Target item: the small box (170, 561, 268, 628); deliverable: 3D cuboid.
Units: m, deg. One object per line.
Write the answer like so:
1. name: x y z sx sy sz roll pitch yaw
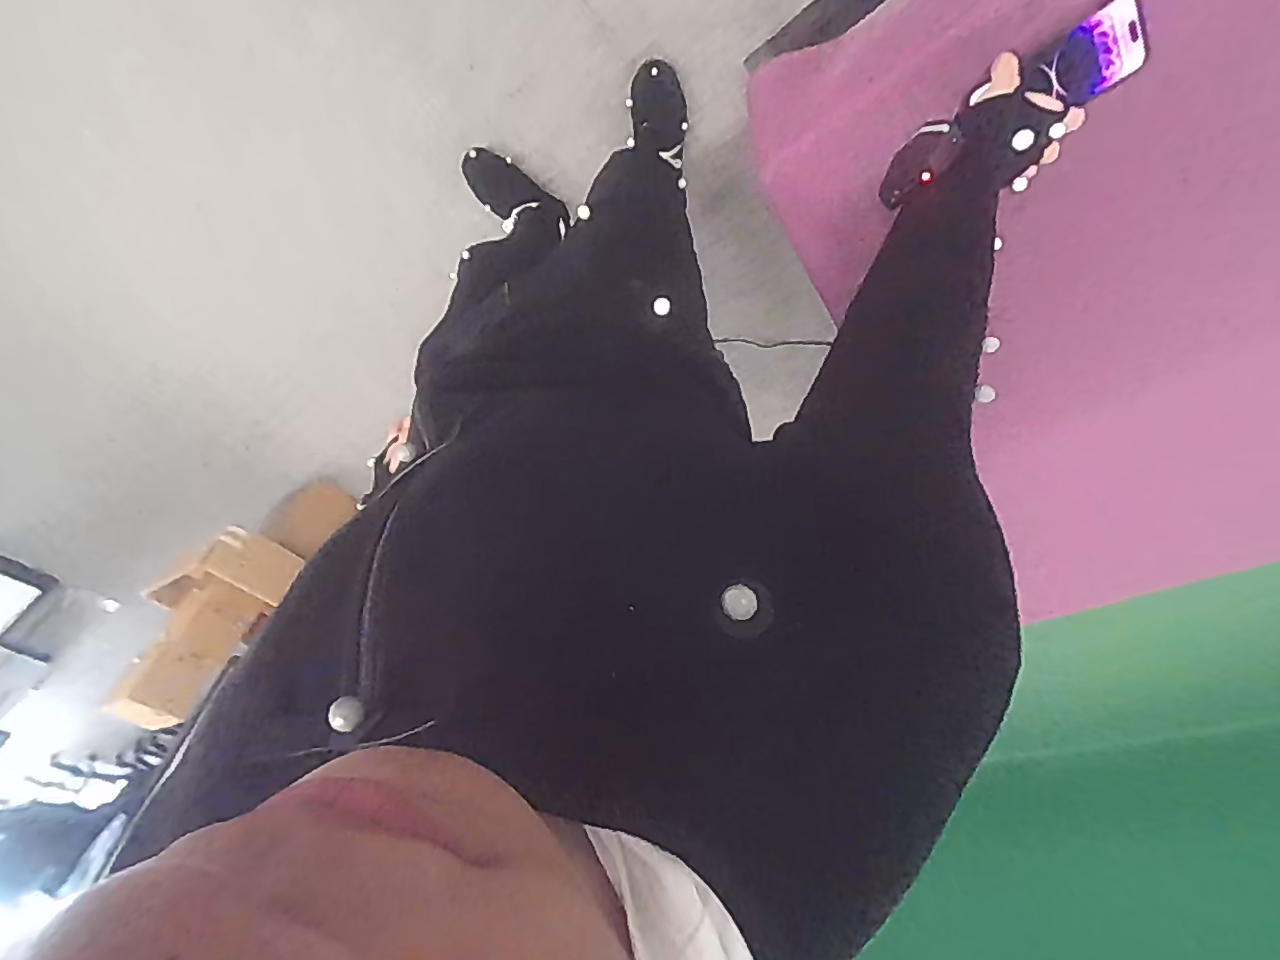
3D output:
1. small box: -1.411 0.399 1.826 0.179 0.176 0.168 -21 129 22

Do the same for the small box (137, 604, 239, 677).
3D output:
1. small box: -1.420 0.514 1.708 0.179 0.176 0.168 -20 129 22

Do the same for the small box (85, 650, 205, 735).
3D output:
1. small box: -1.440 0.623 1.587 0.179 0.176 0.168 -20 130 22

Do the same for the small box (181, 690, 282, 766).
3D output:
1. small box: -1.313 0.803 1.751 0.179 0.176 0.168 -21 130 23

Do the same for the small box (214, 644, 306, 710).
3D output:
1. small box: -1.303 0.690 1.868 0.179 0.176 0.168 -22 130 24
